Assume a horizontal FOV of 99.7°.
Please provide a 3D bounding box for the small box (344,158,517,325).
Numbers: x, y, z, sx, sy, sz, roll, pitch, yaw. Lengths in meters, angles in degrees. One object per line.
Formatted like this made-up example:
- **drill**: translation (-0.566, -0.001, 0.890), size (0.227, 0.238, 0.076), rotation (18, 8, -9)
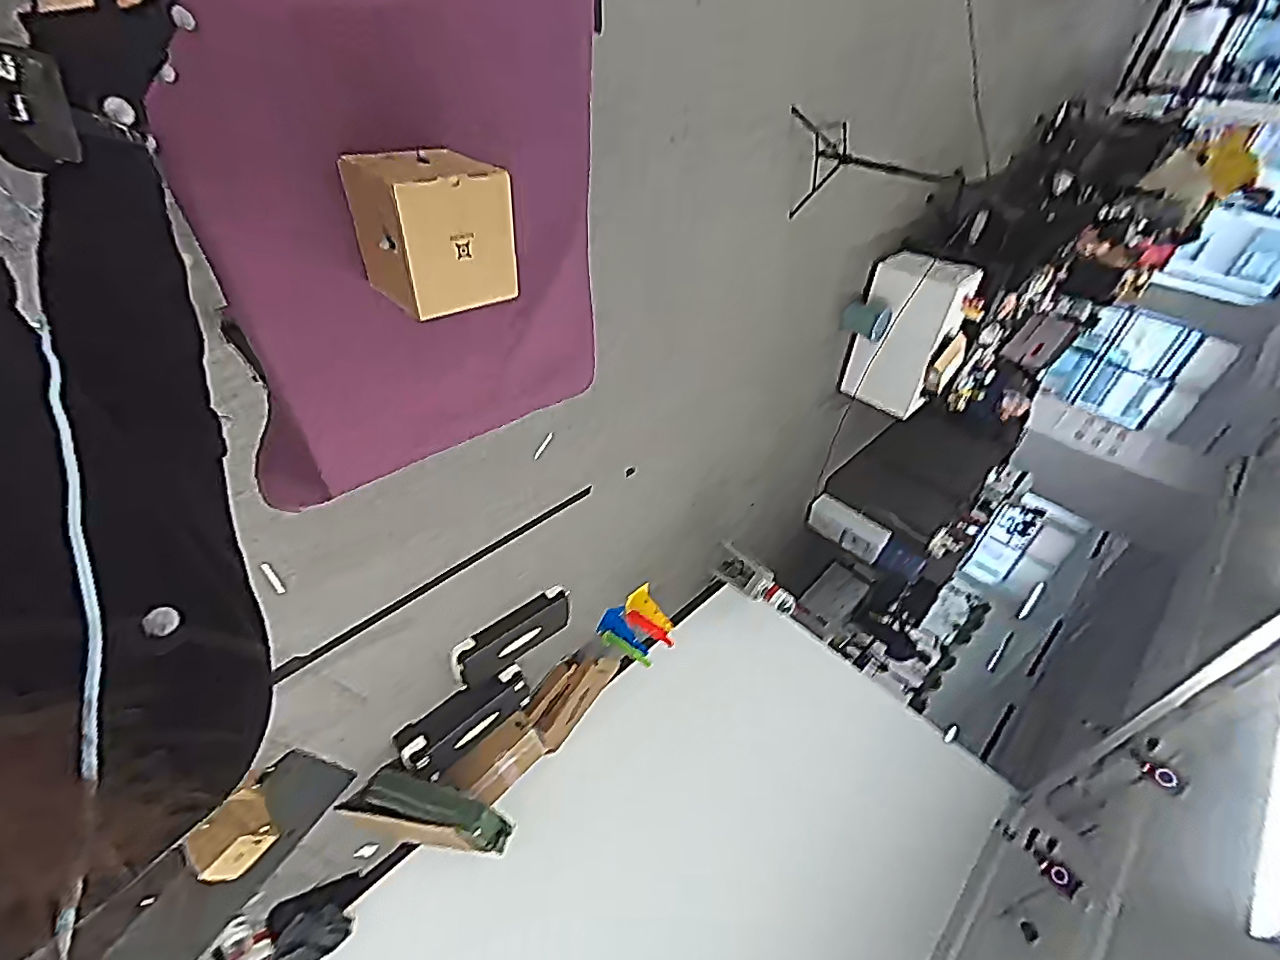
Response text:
- **small box**: translation (-0.300, -0.354, 0.793), size (0.168, 0.176, 0.179), rotation (-29, 140, -34)
